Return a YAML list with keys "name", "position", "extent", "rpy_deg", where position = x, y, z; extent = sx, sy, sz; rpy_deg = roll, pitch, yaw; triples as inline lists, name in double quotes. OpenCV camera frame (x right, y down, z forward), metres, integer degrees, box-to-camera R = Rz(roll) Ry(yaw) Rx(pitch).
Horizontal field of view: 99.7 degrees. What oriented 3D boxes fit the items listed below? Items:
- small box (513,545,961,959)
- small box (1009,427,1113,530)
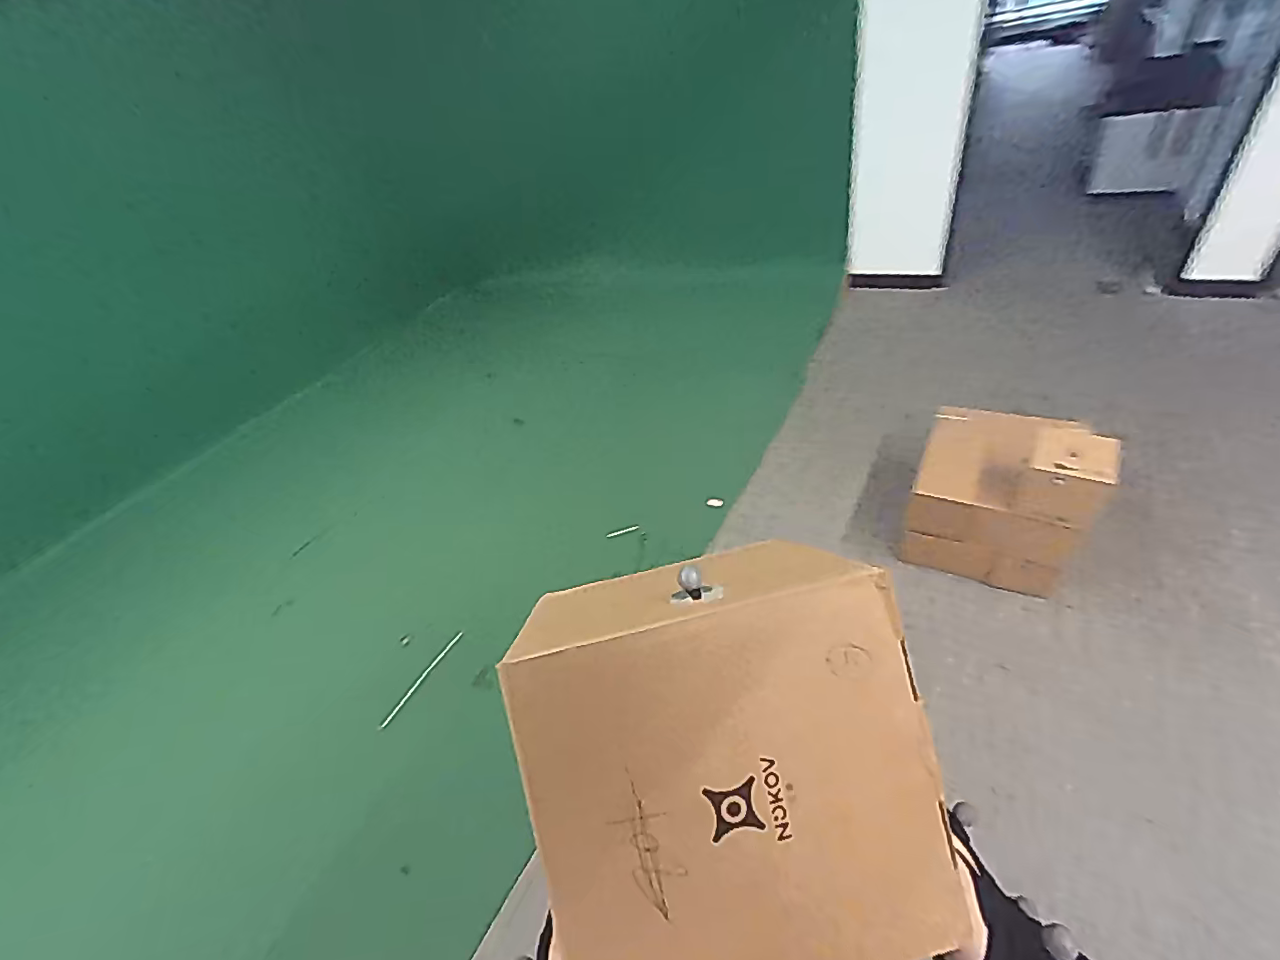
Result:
- name: "small box"
  position: [0.039, 0.138, 0.314]
  extent: [0.179, 0.168, 0.176]
  rpy_deg: [-11, -2, -3]
- name: "small box"
  position: [1.065, -0.006, 1.375]
  extent: [0.168, 0.176, 0.179]
  rpy_deg: [17, 49, 31]
